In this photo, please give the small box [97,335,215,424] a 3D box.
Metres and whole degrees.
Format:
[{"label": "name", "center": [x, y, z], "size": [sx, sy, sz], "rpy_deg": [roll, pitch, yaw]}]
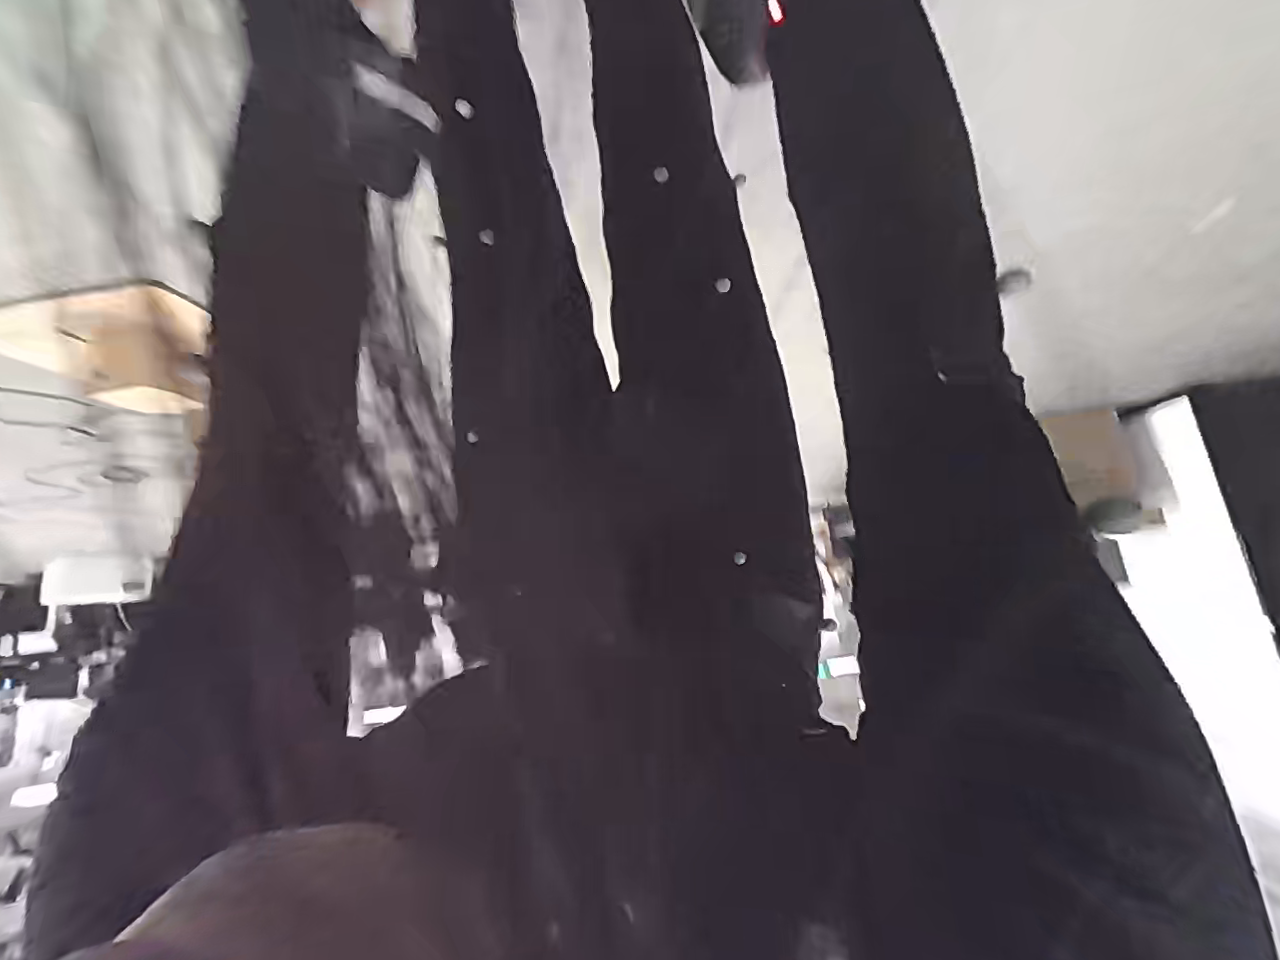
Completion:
[{"label": "small box", "center": [-1.276, -0.265, 1.439], "size": [0.179, 0.176, 0.168], "rpy_deg": [-8, 168, 5]}]
